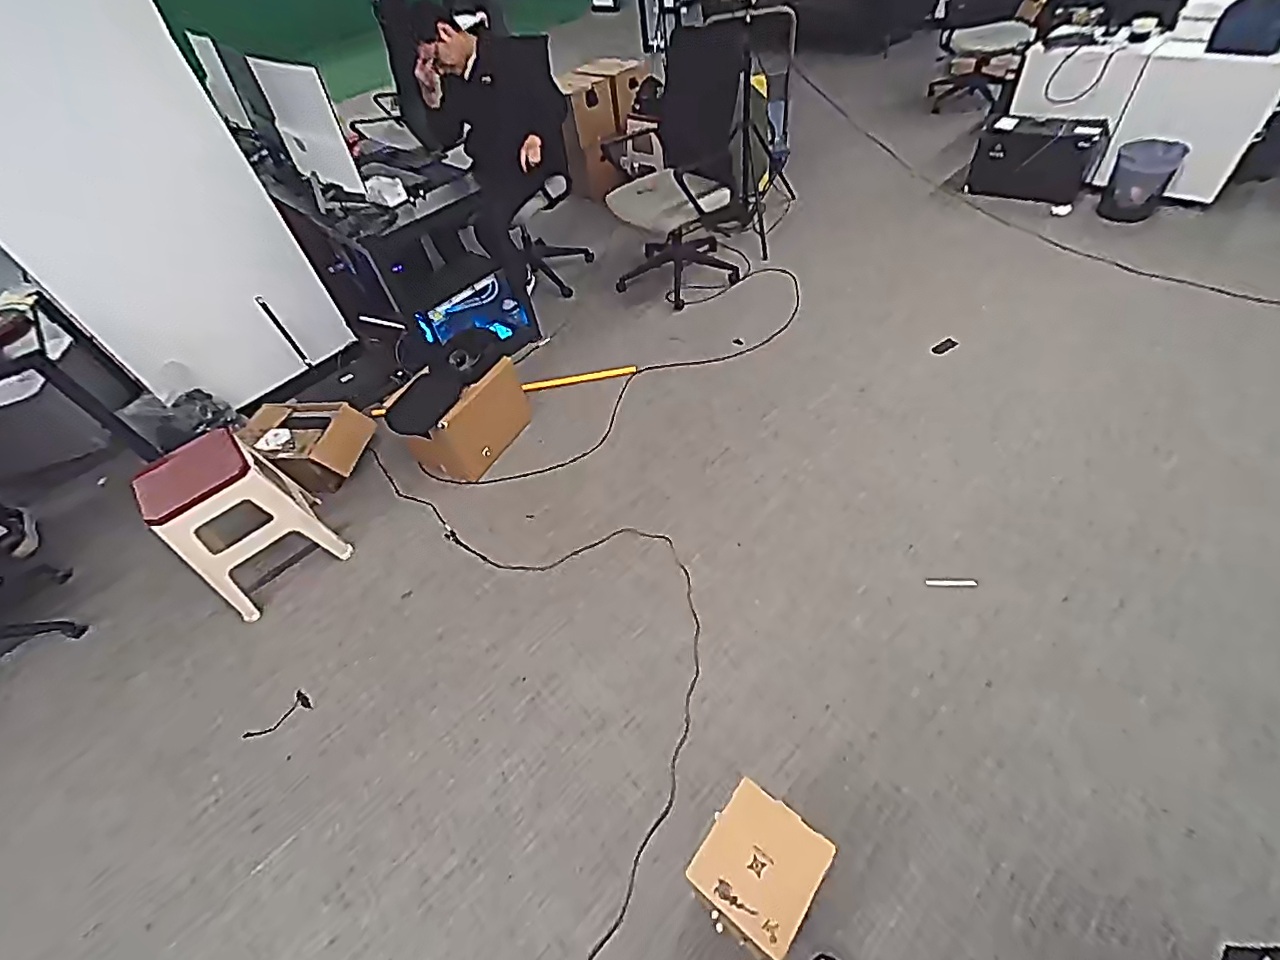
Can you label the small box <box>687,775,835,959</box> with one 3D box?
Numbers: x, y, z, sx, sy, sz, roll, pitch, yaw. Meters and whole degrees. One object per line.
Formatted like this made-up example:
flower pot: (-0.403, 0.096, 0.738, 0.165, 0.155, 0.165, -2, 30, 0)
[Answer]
small box: (0.192, 0.630, 0.883, 0.168, 0.176, 0.179, 28, 58, 30)
